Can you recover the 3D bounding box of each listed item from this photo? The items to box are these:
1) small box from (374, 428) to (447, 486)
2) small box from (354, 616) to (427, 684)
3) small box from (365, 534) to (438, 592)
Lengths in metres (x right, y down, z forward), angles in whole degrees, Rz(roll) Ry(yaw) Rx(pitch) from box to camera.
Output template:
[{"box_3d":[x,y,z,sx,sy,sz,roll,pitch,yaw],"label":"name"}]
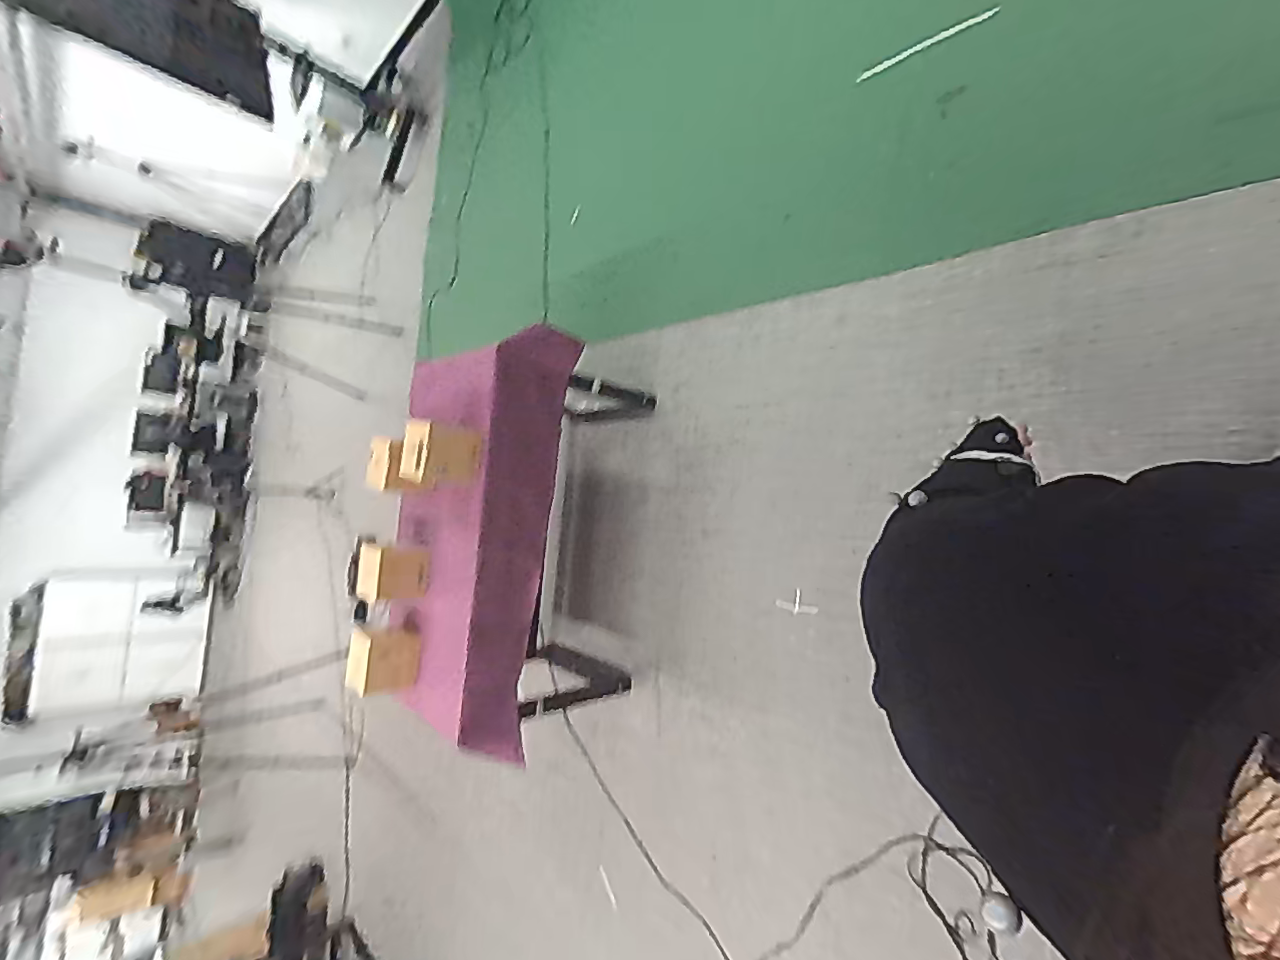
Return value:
[{"box_3d":[-0.787,-0.077,1.862,0.179,0.176,0.168,13,93,44],"label":"small box"},{"box_3d":[-0.837,0.565,1.824,0.168,0.176,0.179,5,88,46],"label":"small box"},{"box_3d":[-0.811,0.279,1.840,0.179,0.176,0.168,5,89,45],"label":"small box"}]
